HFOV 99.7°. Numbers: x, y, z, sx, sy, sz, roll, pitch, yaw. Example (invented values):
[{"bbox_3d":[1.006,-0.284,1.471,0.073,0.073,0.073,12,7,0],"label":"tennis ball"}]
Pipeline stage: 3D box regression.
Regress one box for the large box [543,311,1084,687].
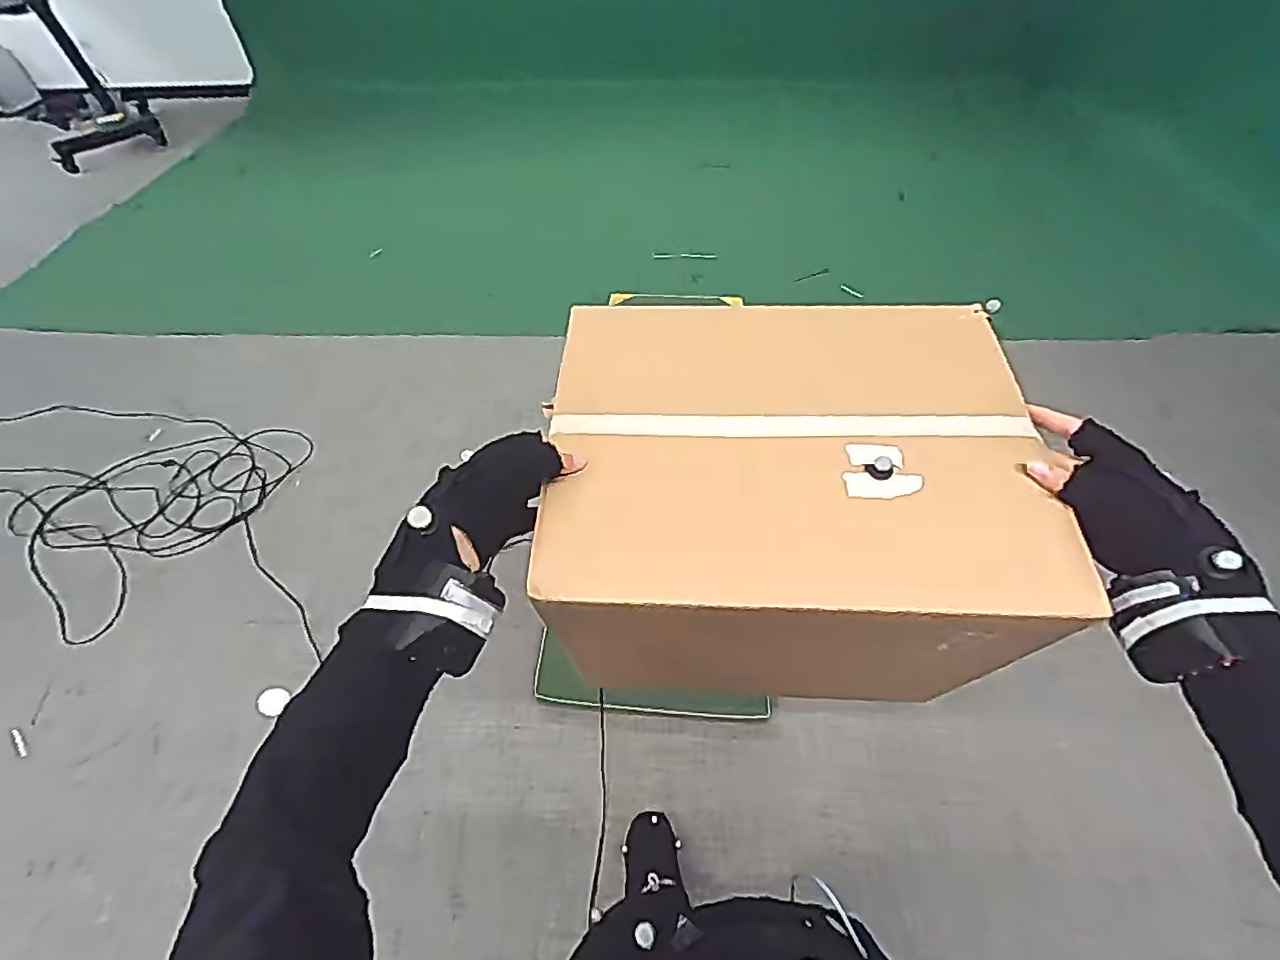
[{"bbox_3d":[0.130,0.035,0.600,0.408,0.320,0.320,1,58,3],"label":"large box"}]
